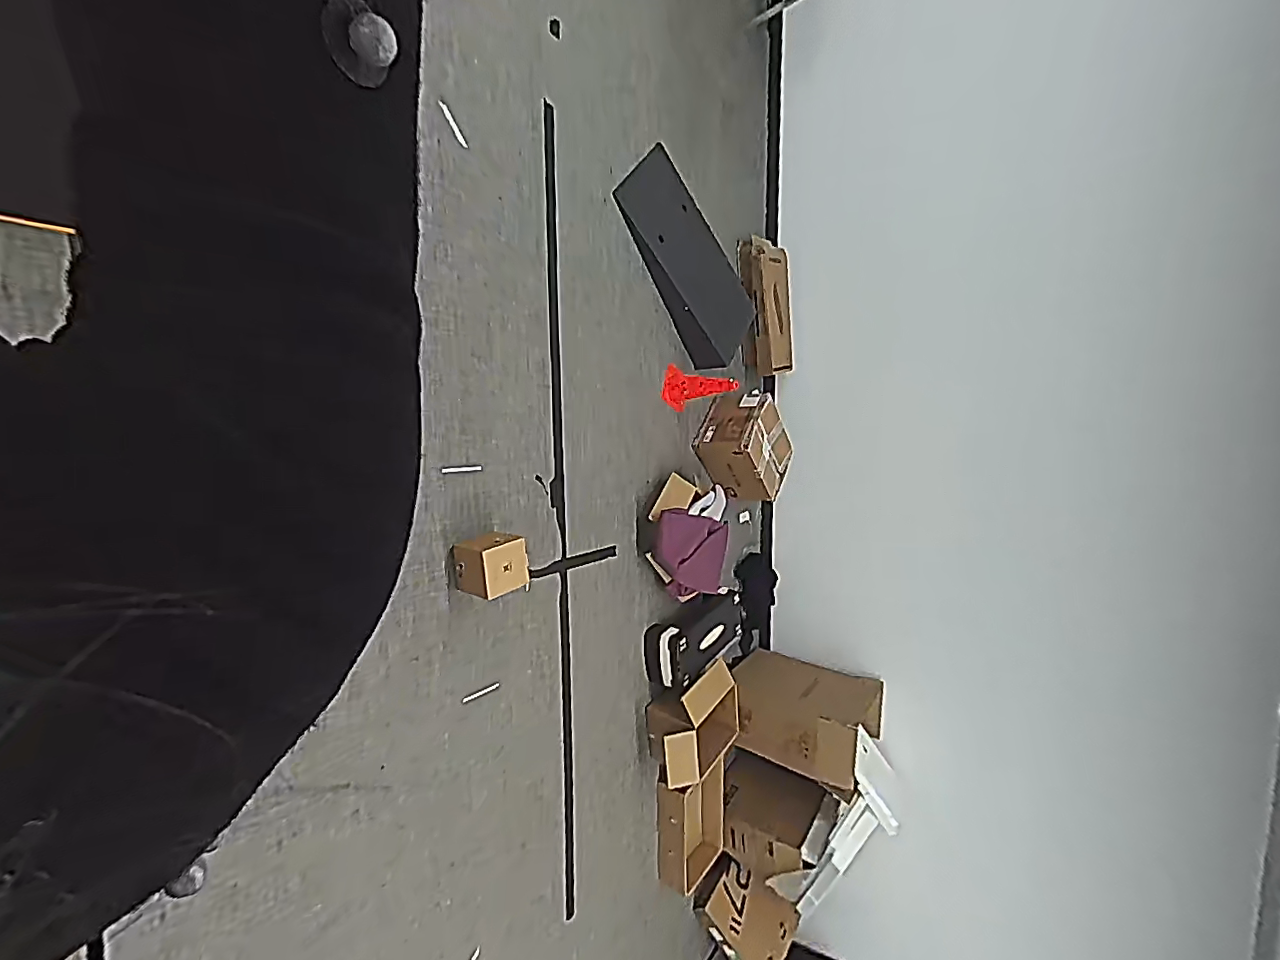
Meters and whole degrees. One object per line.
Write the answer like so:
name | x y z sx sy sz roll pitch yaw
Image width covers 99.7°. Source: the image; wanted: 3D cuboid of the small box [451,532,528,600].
small box | -0.504 0.280 1.811 0.179 0.176 0.168 -17 106 -50
